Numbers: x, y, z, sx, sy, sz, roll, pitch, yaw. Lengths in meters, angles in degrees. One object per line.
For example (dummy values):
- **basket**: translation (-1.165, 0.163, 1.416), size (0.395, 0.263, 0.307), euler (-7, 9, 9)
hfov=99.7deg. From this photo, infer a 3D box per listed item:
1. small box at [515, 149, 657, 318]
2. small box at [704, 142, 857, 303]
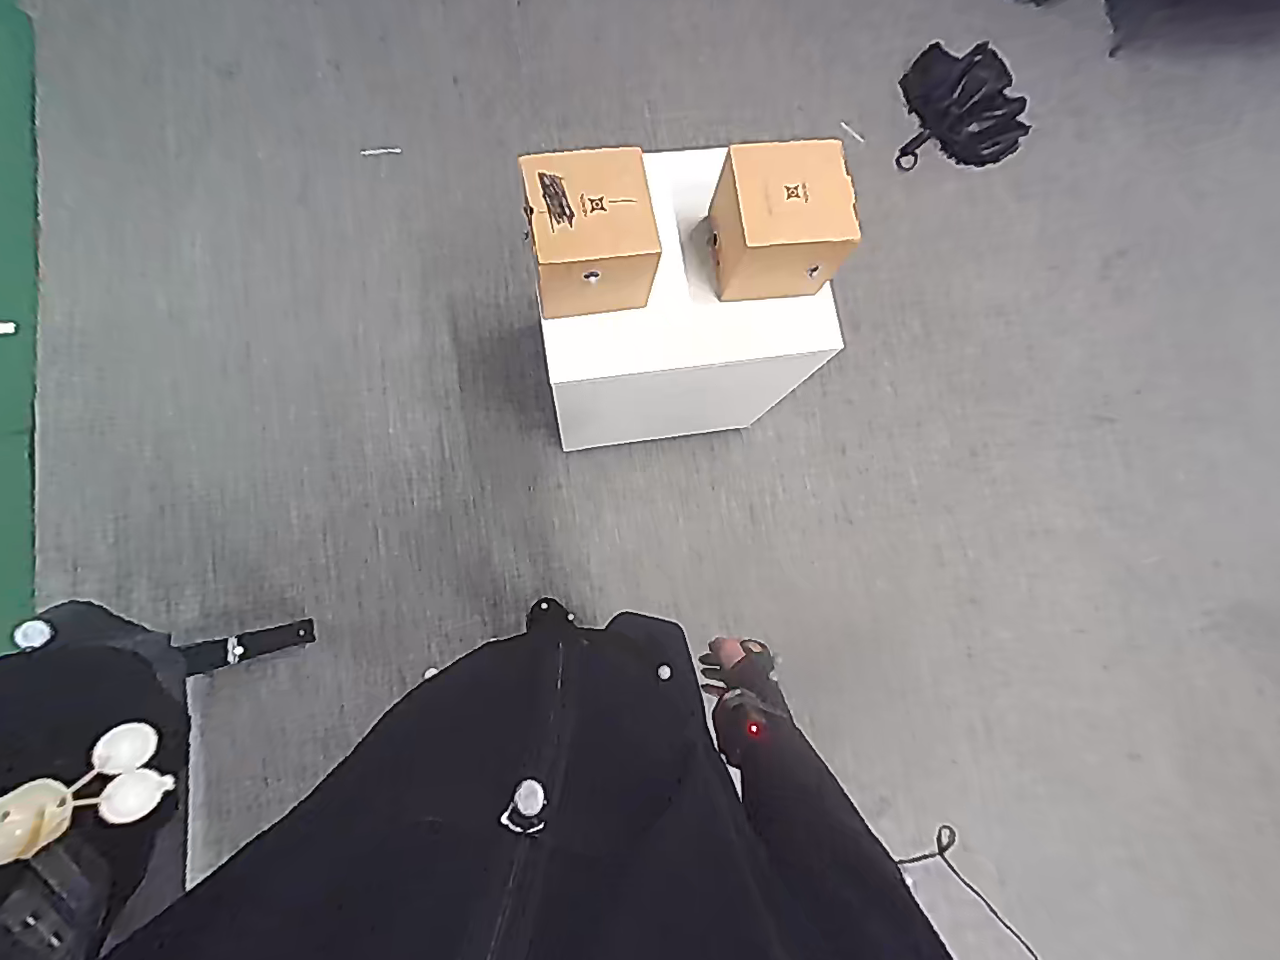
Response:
- **small box**: translation (-0.082, -0.362, 0.820), size (0.179, 0.176, 0.168), euler (-10, 82, -9)
- **small box**: translation (0.211, -0.399, 0.858), size (0.179, 0.176, 0.168), euler (-7, 81, -5)
